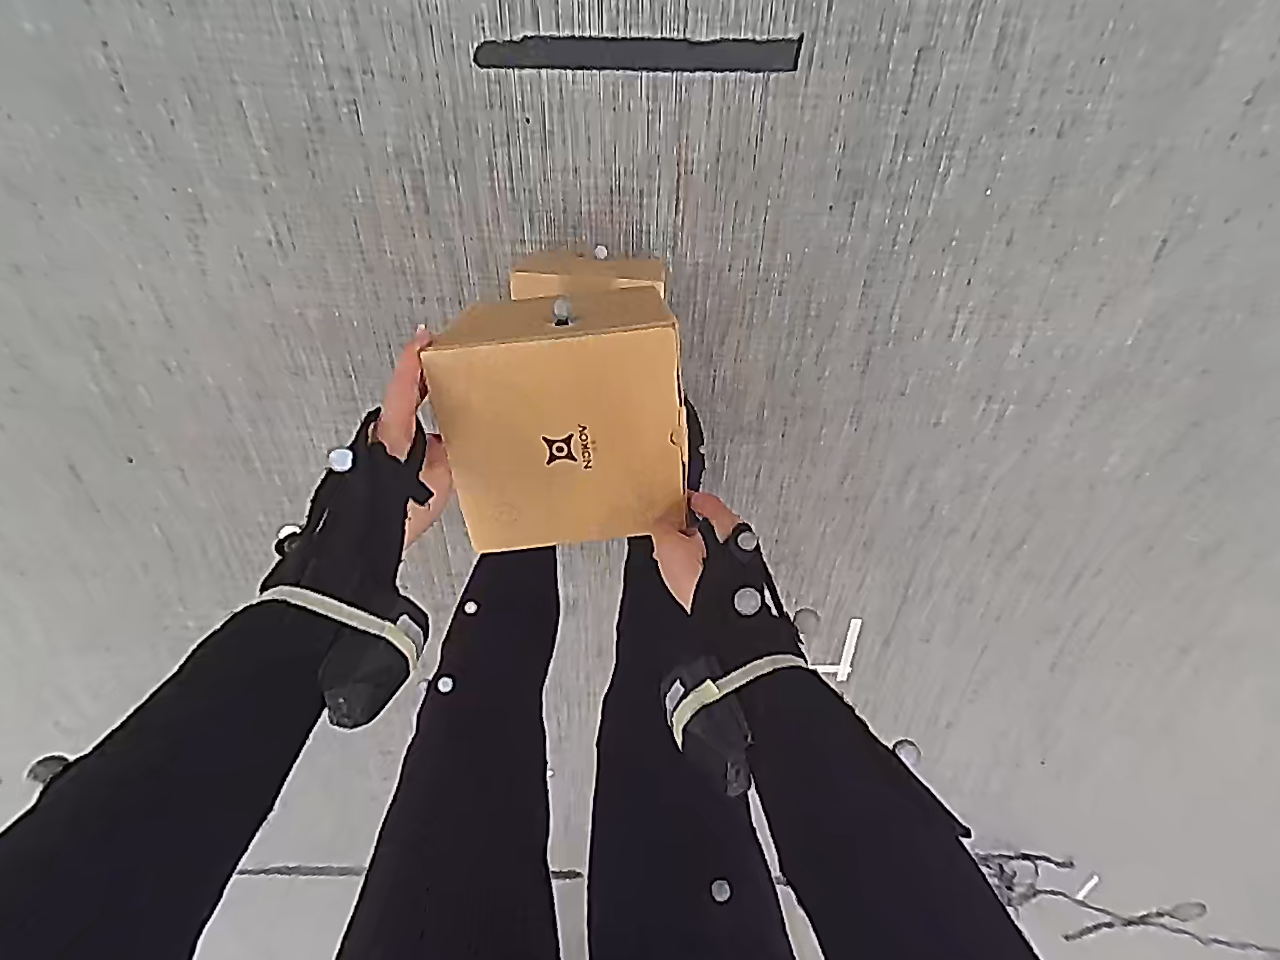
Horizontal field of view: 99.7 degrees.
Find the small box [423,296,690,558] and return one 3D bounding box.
[{"bbox_3d":[-0.058,-0.056,0.465,0.179,0.176,0.168,-7,118,-2],"label":"small box"}]

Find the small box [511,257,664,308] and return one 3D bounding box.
[{"bbox_3d":[-0.060,-0.173,0.682,0.168,0.176,0.179,3,119,-2],"label":"small box"}]
